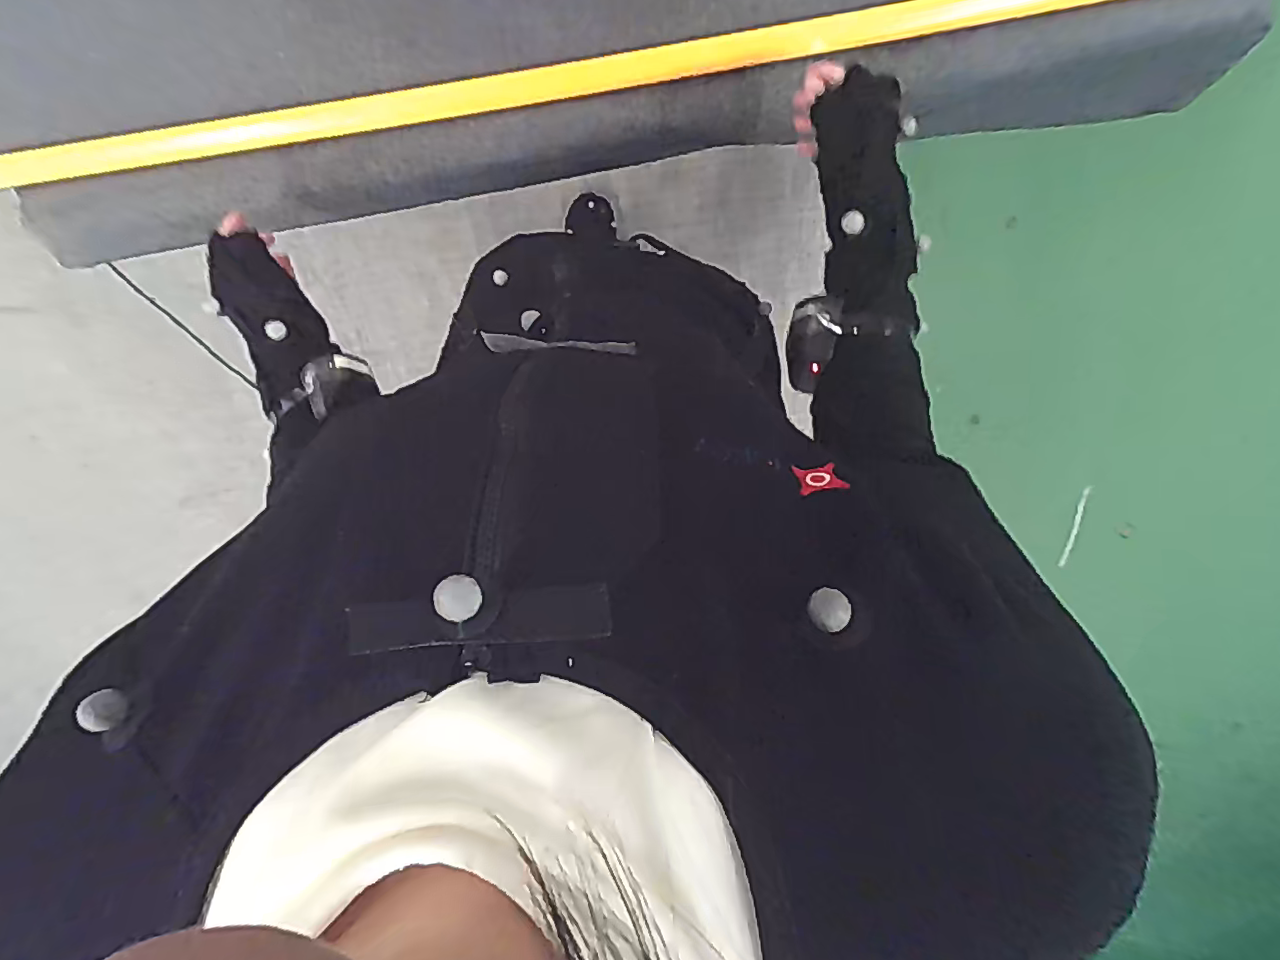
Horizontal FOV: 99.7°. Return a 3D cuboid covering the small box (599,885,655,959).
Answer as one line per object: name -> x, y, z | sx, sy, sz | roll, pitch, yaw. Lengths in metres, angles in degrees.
small box -> -0.044, 1.580, 1.922 | 0.168, 0.176, 0.179 | -12, 120, 5

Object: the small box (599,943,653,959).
small box -> -0.039, 1.667, 1.783 | 0.168, 0.176, 0.179 | -11, 120, 3
